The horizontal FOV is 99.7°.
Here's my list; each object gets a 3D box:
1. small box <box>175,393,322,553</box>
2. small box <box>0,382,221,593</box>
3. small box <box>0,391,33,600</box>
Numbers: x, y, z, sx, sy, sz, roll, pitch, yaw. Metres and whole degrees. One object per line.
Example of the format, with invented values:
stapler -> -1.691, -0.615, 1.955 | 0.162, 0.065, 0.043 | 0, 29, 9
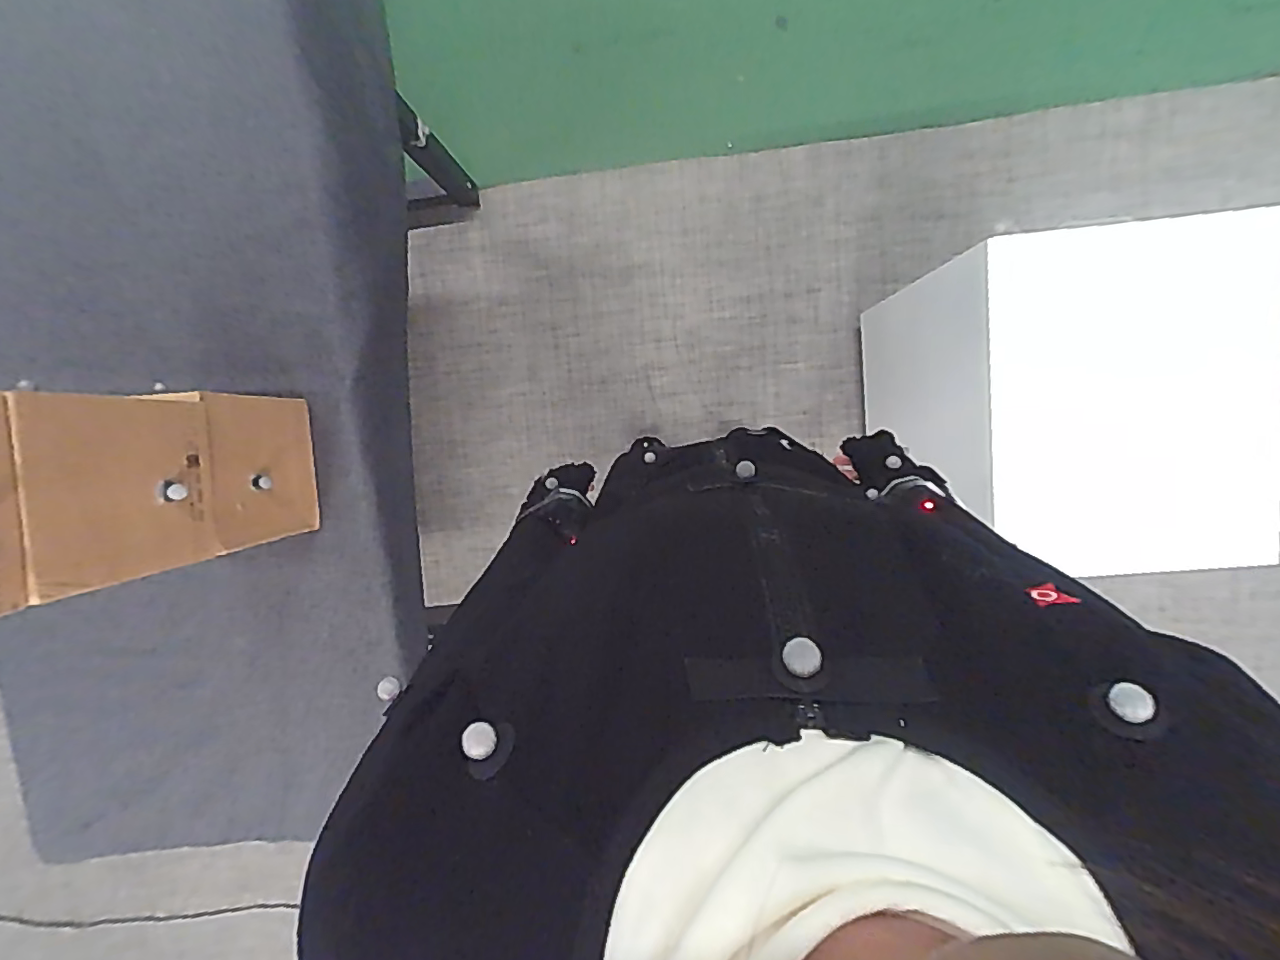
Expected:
small box -> -0.525, -0.015, 0.666 | 0.168, 0.176, 0.179 | -2, 96, 5
small box -> -0.545, 0.002, 0.504 | 0.179, 0.176, 0.168 | -2, 95, 7
small box -> -0.562, 0.020, 0.344 | 0.179, 0.176, 0.168 | 0, 97, 4
